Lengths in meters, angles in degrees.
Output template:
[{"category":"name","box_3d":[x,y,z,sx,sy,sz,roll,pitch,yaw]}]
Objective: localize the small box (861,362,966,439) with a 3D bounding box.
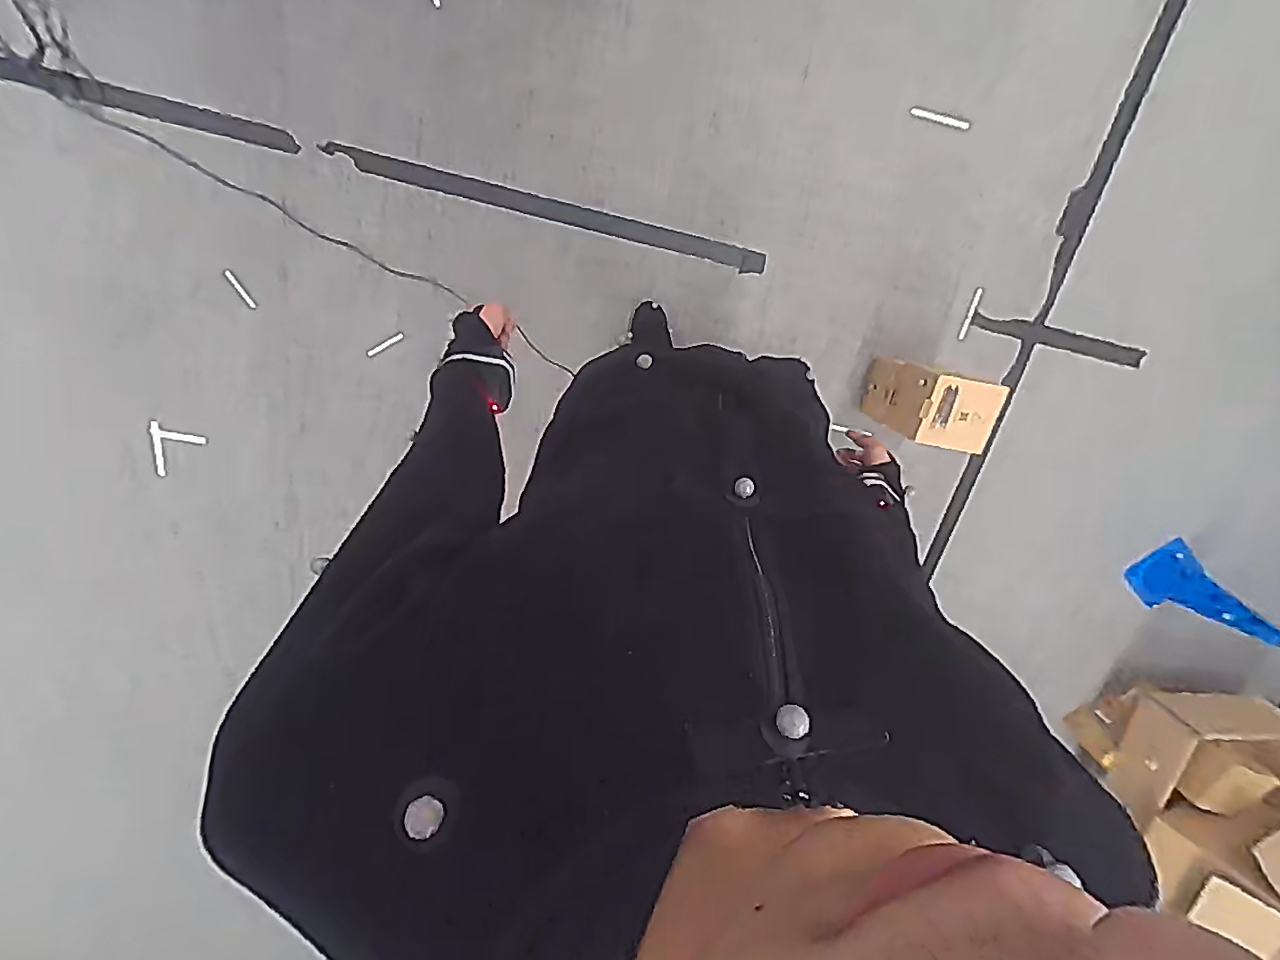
[{"category":"small box","box_3d":[0.745,-0.225,1.493,0.179,0.176,0.168,9,110,-2]}]
